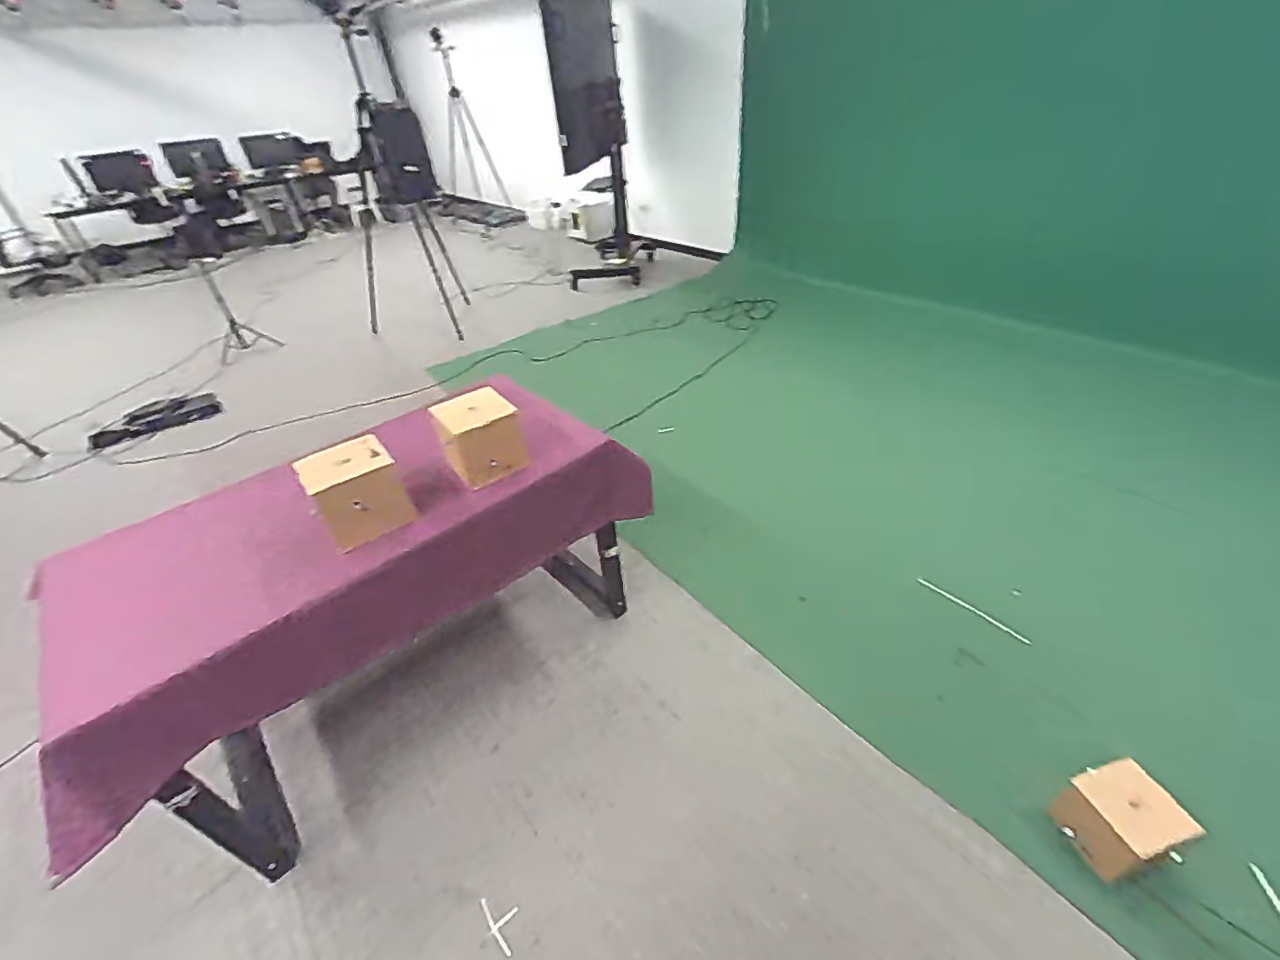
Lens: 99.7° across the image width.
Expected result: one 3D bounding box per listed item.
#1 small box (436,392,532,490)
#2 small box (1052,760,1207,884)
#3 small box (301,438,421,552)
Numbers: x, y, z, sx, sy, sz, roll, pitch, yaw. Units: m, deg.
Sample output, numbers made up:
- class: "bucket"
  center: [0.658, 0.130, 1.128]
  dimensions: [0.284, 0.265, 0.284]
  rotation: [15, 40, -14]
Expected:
- class: "small box"
  center: [-0.399, -0.101, 1.392]
  dimensions: [0.168, 0.176, 0.179]
  rotation: [-27, 43, -26]
- class: "small box"
  center: [1.102, 0.782, 1.238]
  dimensions: [0.179, 0.176, 0.168]
  rotation: [-12, 37, -9]
- class: "small box"
  center: [-0.633, 0.035, 1.238]
  dimensions: [0.179, 0.176, 0.168]
  rotation: [-29, 42, -27]
